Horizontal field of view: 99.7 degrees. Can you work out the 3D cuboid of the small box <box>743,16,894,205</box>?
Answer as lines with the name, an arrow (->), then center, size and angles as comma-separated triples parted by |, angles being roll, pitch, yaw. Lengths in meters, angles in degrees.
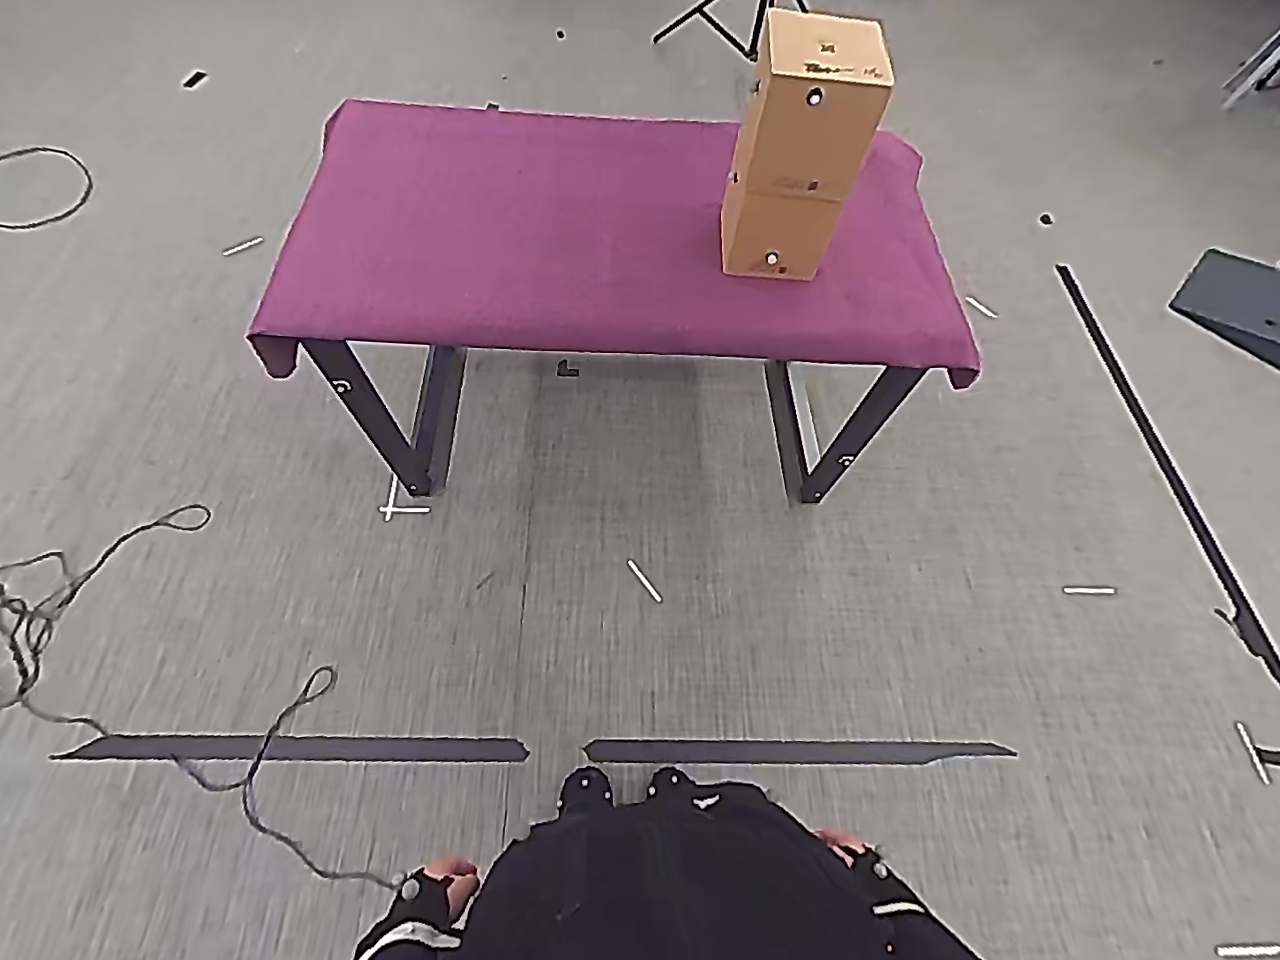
small box -> 0.253, -0.550, 0.814 | 0.168, 0.176, 0.179 | 5, 61, 0

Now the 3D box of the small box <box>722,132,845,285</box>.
small box -> 0.242, -0.479, 0.962 | 0.168, 0.176, 0.179 | 4, 63, -2
